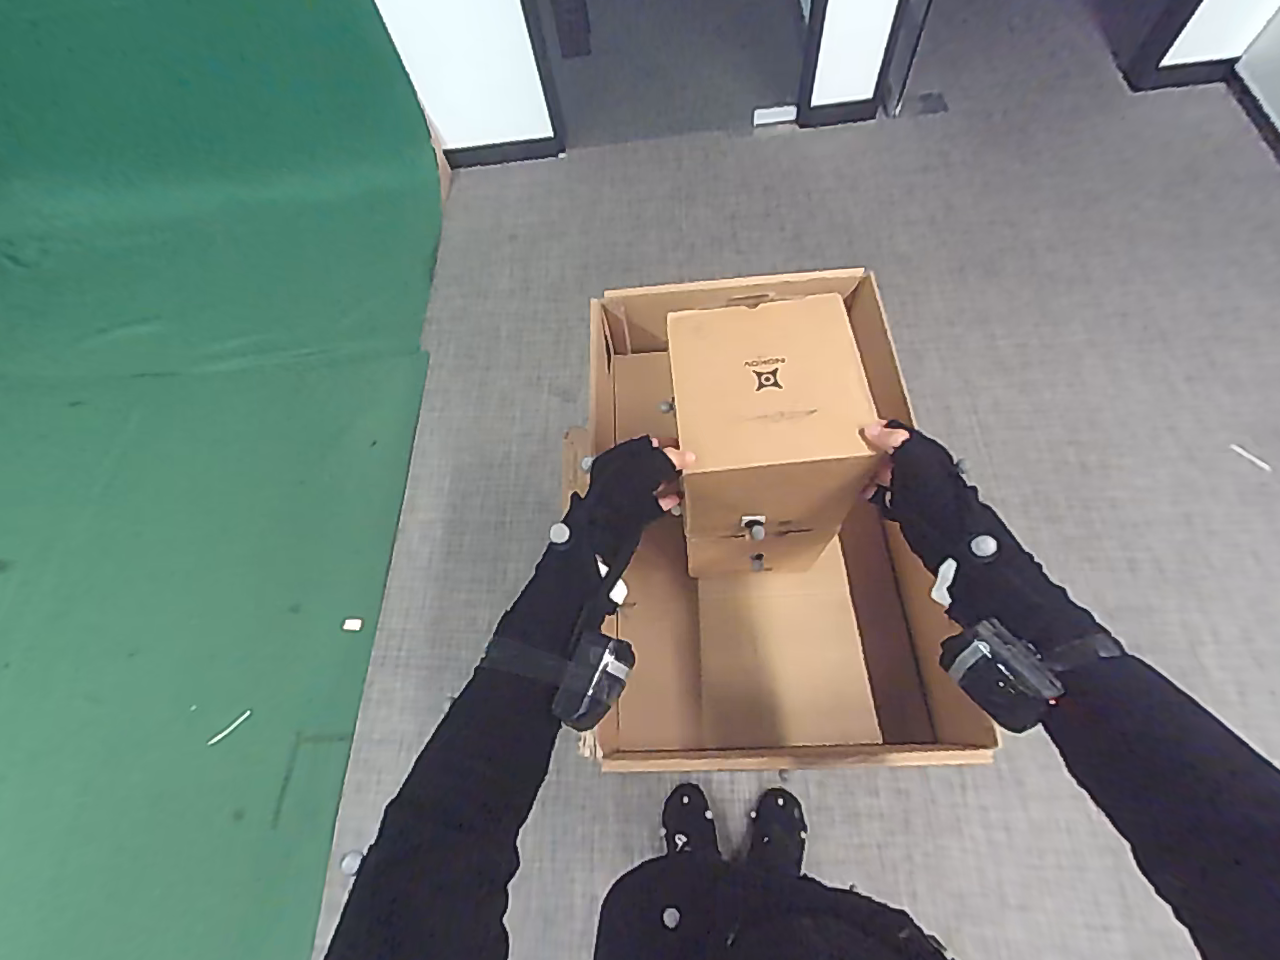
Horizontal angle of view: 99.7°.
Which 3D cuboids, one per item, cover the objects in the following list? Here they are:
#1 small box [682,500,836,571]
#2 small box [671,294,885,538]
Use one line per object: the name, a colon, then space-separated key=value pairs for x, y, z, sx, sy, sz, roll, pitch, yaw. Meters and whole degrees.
small box: x=0.137 y=0.014 z=0.691 sx=0.168 sy=0.176 sz=0.179 roll=-3 pitch=65 yaw=3
small box: x=0.120 y=-0.055 z=0.545 sx=0.168 sy=0.176 sz=0.179 roll=-6 pitch=65 yaw=4
